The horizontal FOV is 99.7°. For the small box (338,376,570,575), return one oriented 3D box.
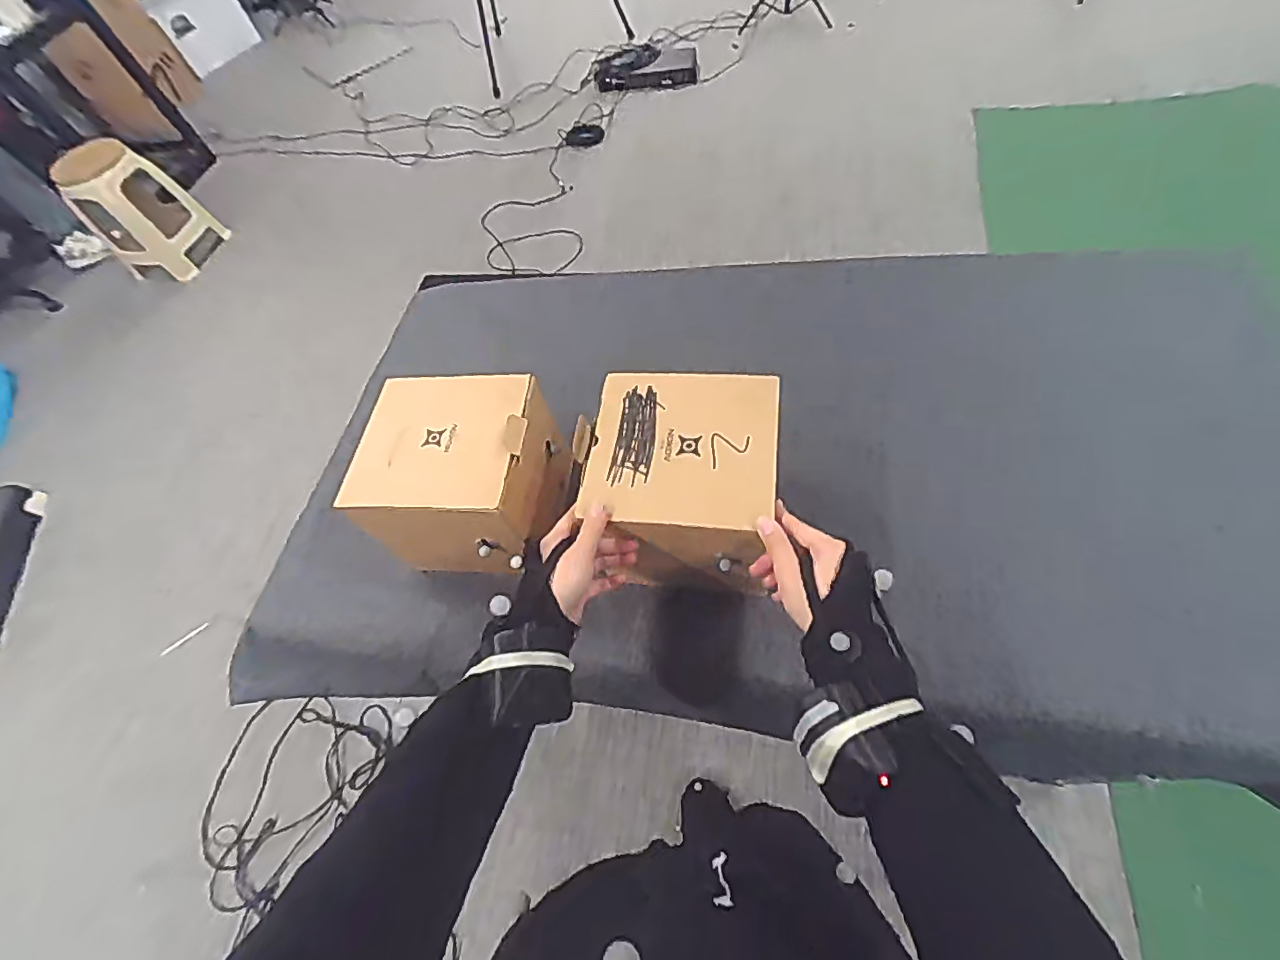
[{"bbox_3d":[-0.189,0.001,0.615,0.179,0.176,0.168,-1,58,10],"label":"small box"}]
